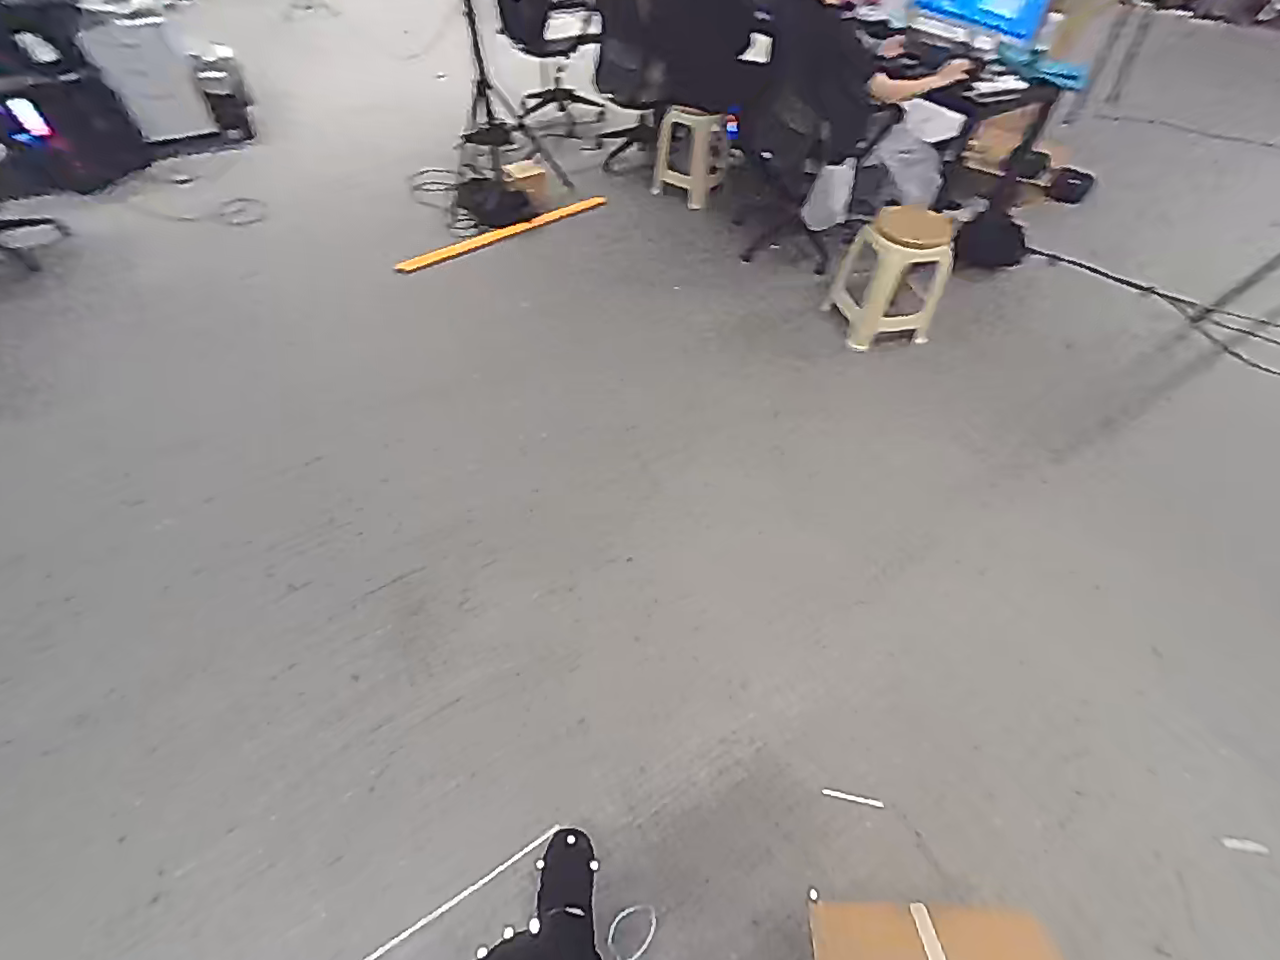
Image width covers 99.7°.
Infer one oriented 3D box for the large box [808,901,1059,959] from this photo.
[{"bbox_3d":[0.401,0.802,0.624,0.320,0.408,0.320,-8,94,11],"label":"large box"}]
